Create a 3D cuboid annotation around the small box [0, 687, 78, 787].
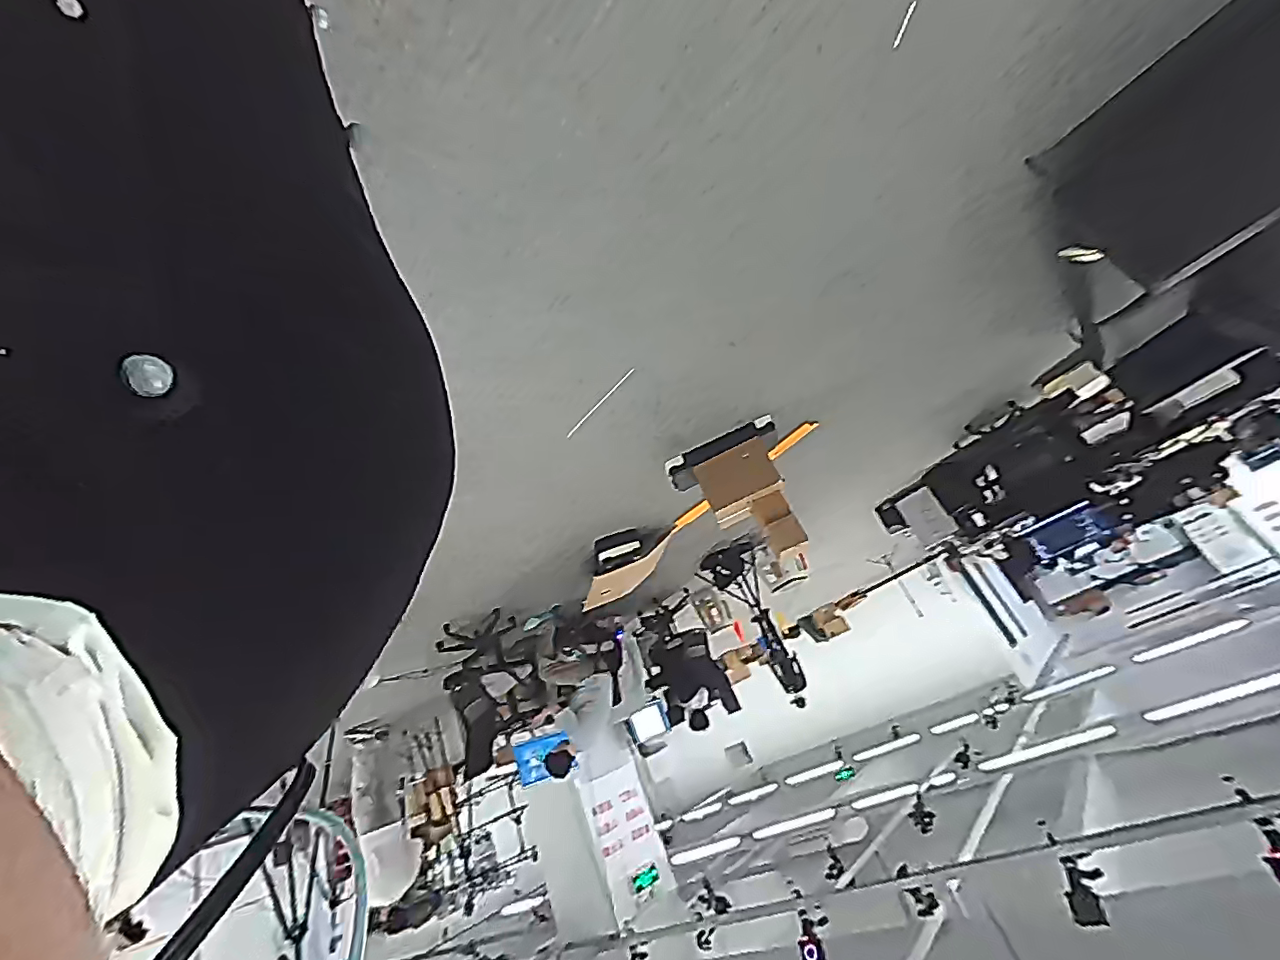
[{"bbox_3d":[-1.441,0.598,1.262,0.168,0.176,0.179,6,143,-45],"label":"small box"}]
